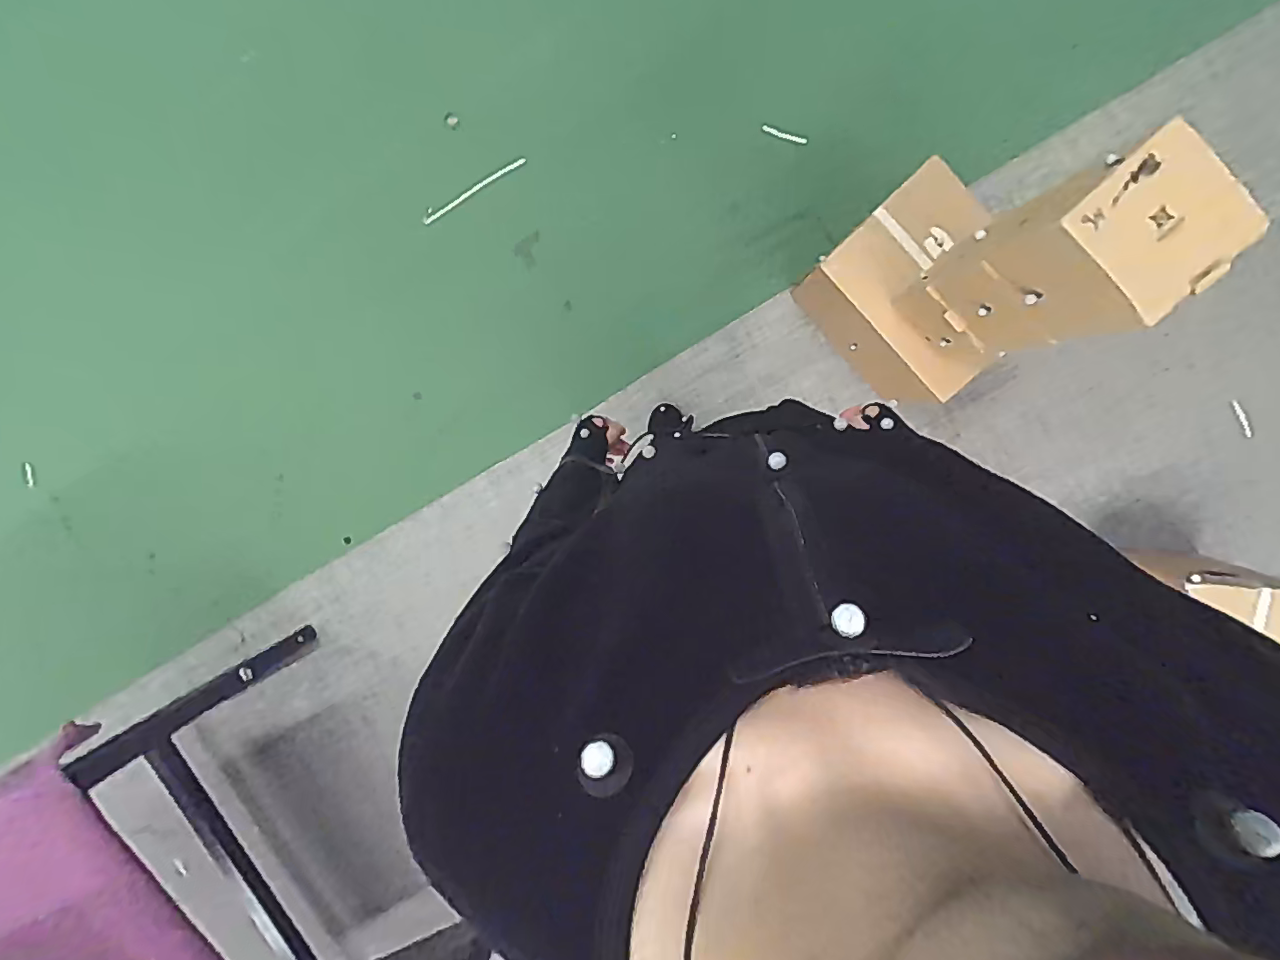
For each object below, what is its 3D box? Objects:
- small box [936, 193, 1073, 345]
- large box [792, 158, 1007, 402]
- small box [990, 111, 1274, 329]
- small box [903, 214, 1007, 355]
[{"bbox_3d":[0.627,-0.334,0.867,0.168,0.176,0.179,-44,93,8],"label":"small box"},{"bbox_3d":[0.630,-0.428,1.266,0.320,0.320,0.408,-44,92,7],"label":"large box"},{"bbox_3d":[0.616,-0.314,0.704,0.168,0.176,0.179,-43,94,8],"label":"small box"},{"bbox_3d":[0.634,-0.356,1.029,0.179,0.176,0.168,-43,93,8],"label":"small box"}]
